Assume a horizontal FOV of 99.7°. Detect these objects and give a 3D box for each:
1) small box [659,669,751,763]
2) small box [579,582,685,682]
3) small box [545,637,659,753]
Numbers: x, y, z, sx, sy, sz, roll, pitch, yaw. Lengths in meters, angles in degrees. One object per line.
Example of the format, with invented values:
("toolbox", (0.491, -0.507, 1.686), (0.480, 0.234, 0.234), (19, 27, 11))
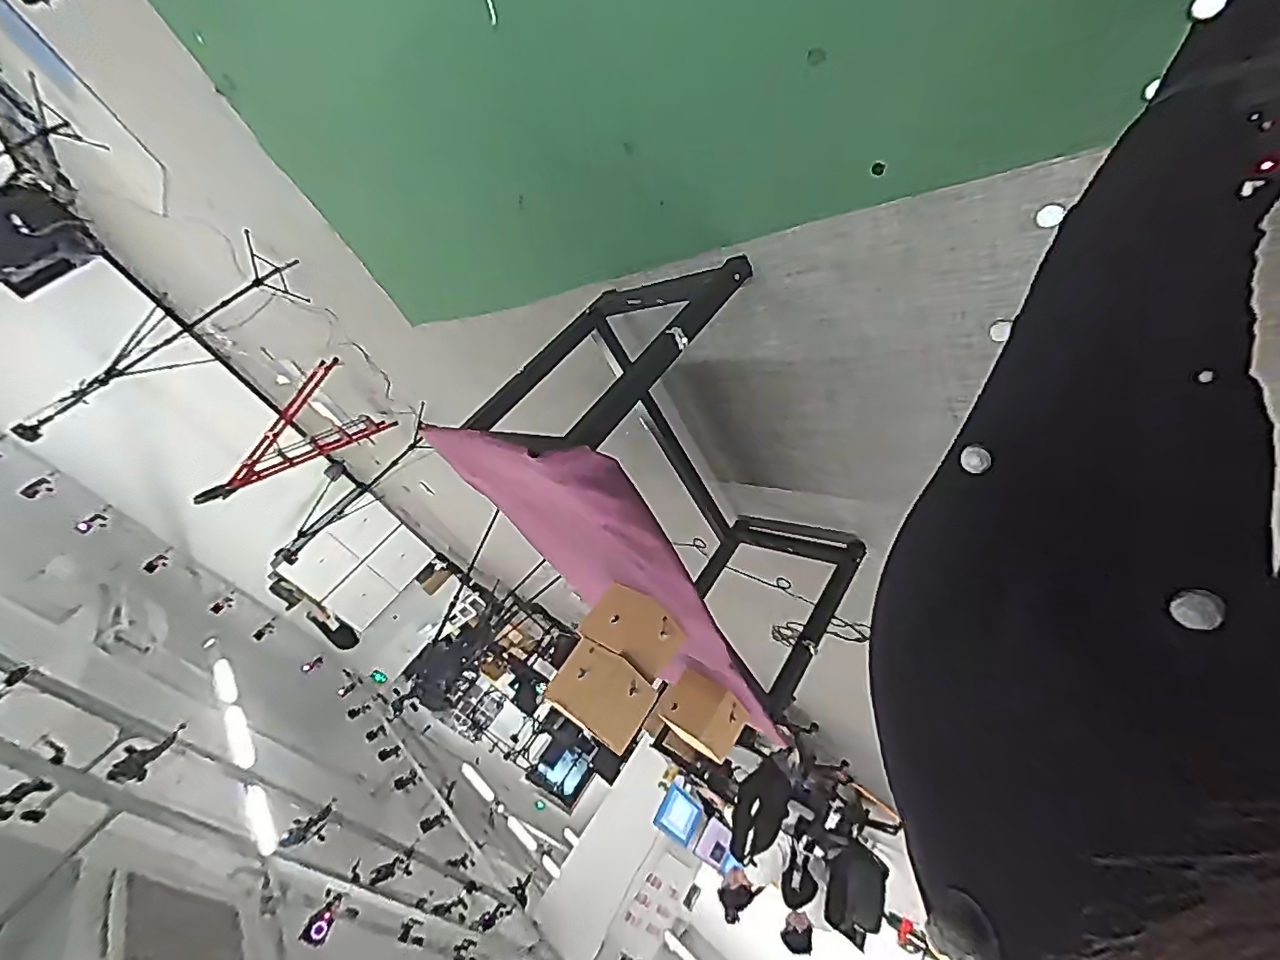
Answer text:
("small box", (0.196, 0.692, 1.611), (0.179, 0.176, 0.168), (9, 143, 50))
("small box", (-0.016, 0.386, 1.388), (0.179, 0.176, 0.168), (10, 143, 47))
("small box", (-0.089, 0.510, 1.304), (0.168, 0.176, 0.179), (7, 141, 49))
